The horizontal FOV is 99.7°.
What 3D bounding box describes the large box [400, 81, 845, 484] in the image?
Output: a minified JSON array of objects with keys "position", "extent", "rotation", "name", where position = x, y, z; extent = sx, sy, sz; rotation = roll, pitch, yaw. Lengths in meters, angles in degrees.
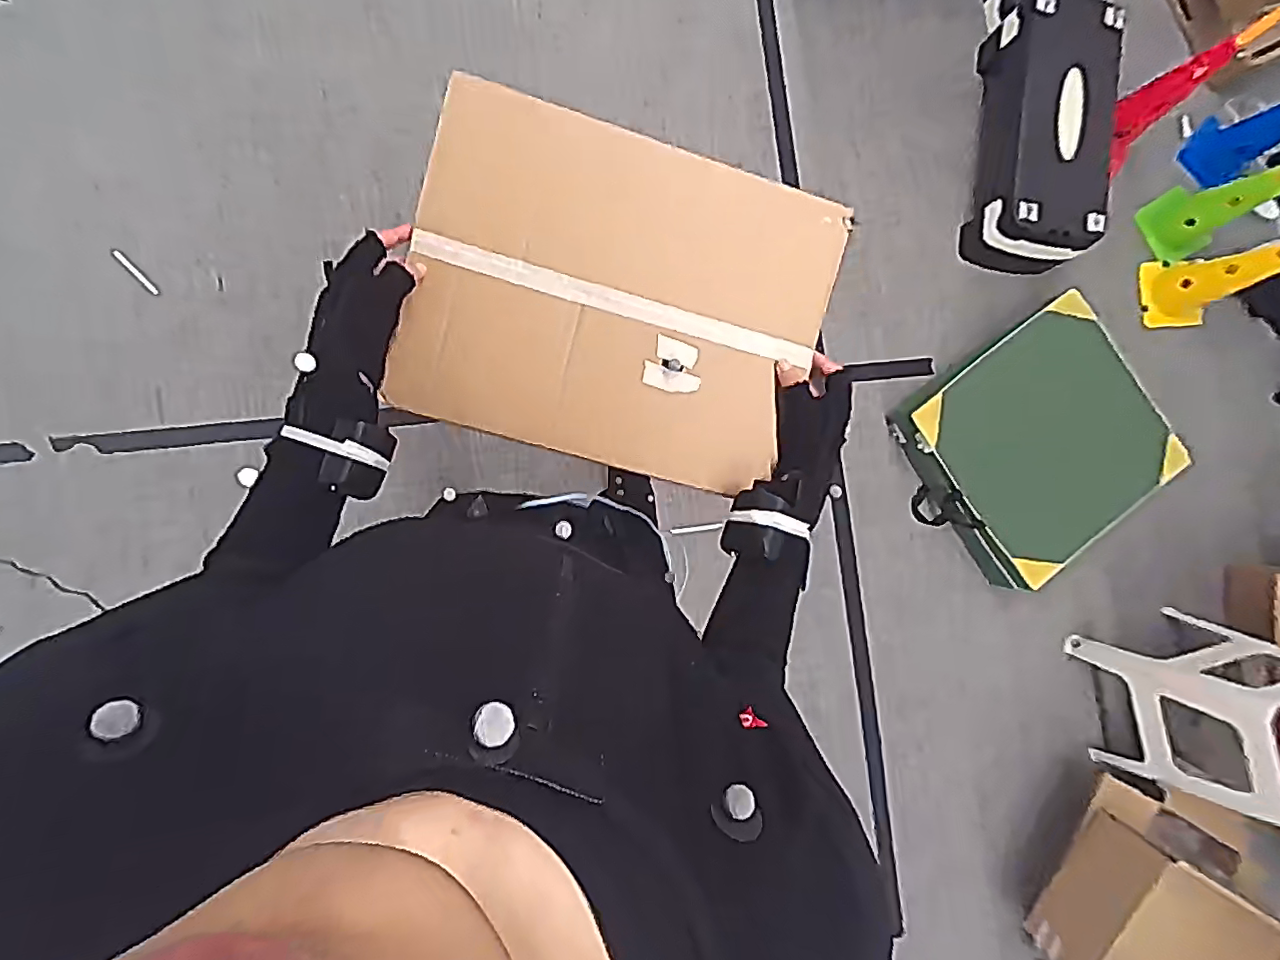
[{"position":[-0.030,-0.203,0.695],"extent":[0.408,0.320,0.320],"rotation":[15,95,-8],"name":"large box"}]
